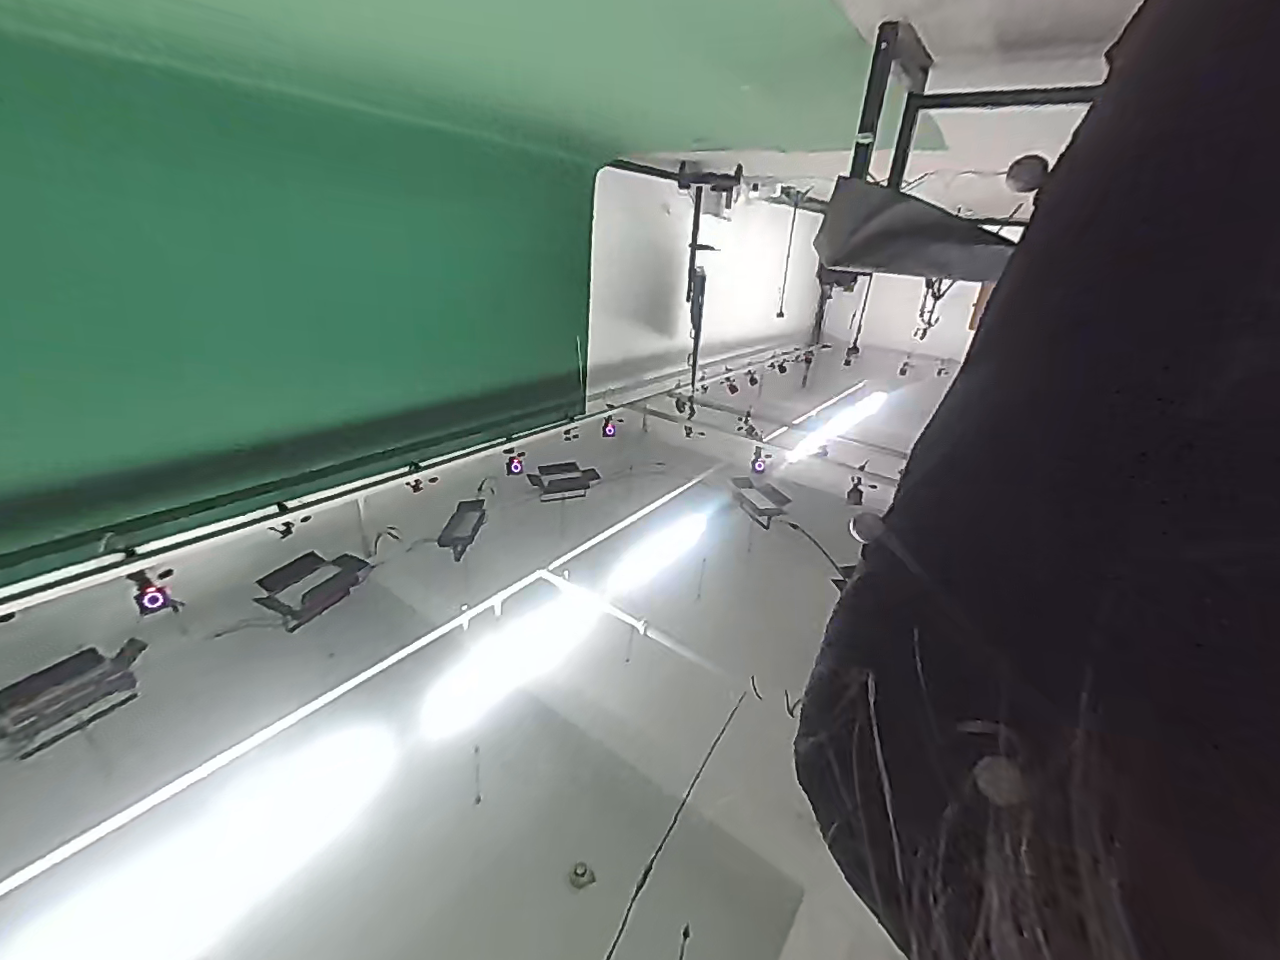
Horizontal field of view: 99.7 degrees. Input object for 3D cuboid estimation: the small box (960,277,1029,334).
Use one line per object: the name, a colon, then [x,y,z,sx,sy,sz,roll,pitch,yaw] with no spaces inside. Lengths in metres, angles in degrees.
small box: [1.257,-0.623,1.916,0.168,0.176,0.179,18,-153,29]
